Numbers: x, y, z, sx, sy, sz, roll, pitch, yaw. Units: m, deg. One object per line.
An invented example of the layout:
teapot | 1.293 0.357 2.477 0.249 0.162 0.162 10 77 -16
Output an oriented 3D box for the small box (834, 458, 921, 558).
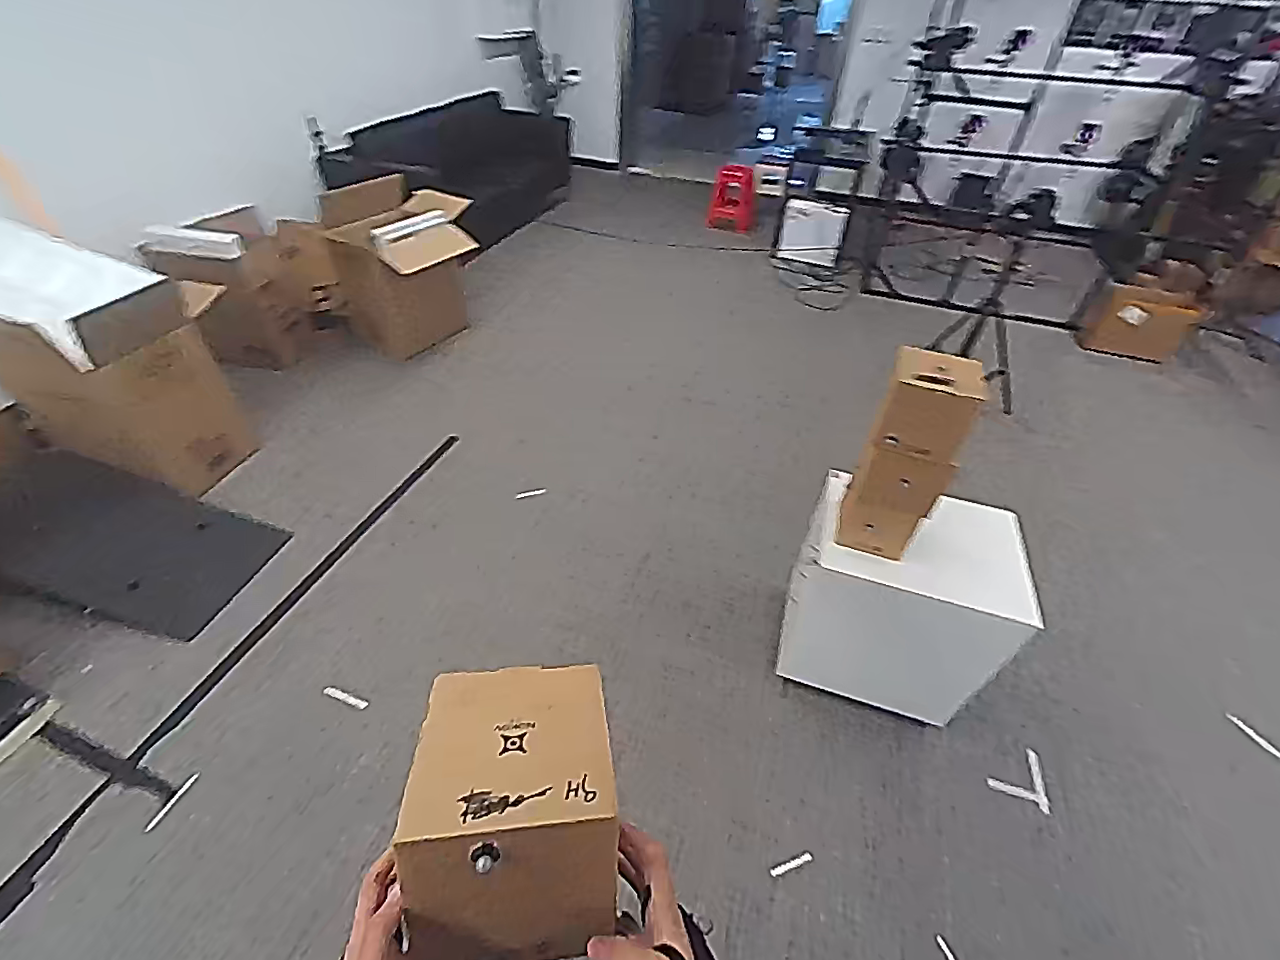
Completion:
small box | 0.612 0.076 1.402 0.168 0.176 0.179 15 44 12

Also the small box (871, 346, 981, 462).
small box | 0.616 -0.165 1.178 0.168 0.176 0.179 17 43 15

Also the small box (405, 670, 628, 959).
small box | -0.105 0.305 0.502 0.168 0.176 0.179 -1 21 -9
